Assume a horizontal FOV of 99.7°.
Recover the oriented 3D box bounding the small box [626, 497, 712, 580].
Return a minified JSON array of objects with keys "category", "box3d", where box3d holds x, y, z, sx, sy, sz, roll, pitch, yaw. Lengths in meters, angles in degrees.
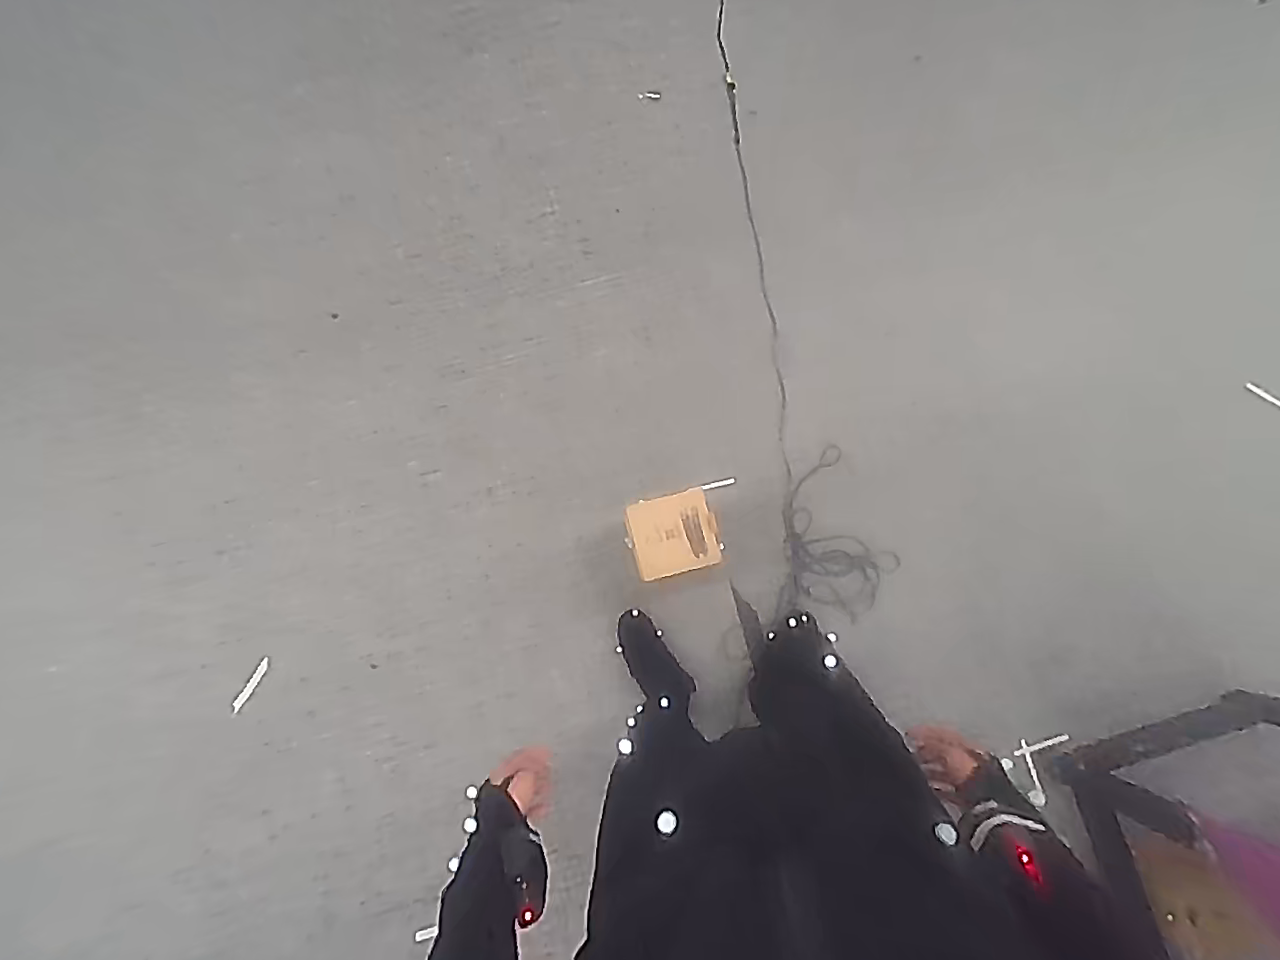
[{"category":"small box","box3d":[0.071,0.154,1.380,0.179,0.176,0.168,-17,82,-2]}]
